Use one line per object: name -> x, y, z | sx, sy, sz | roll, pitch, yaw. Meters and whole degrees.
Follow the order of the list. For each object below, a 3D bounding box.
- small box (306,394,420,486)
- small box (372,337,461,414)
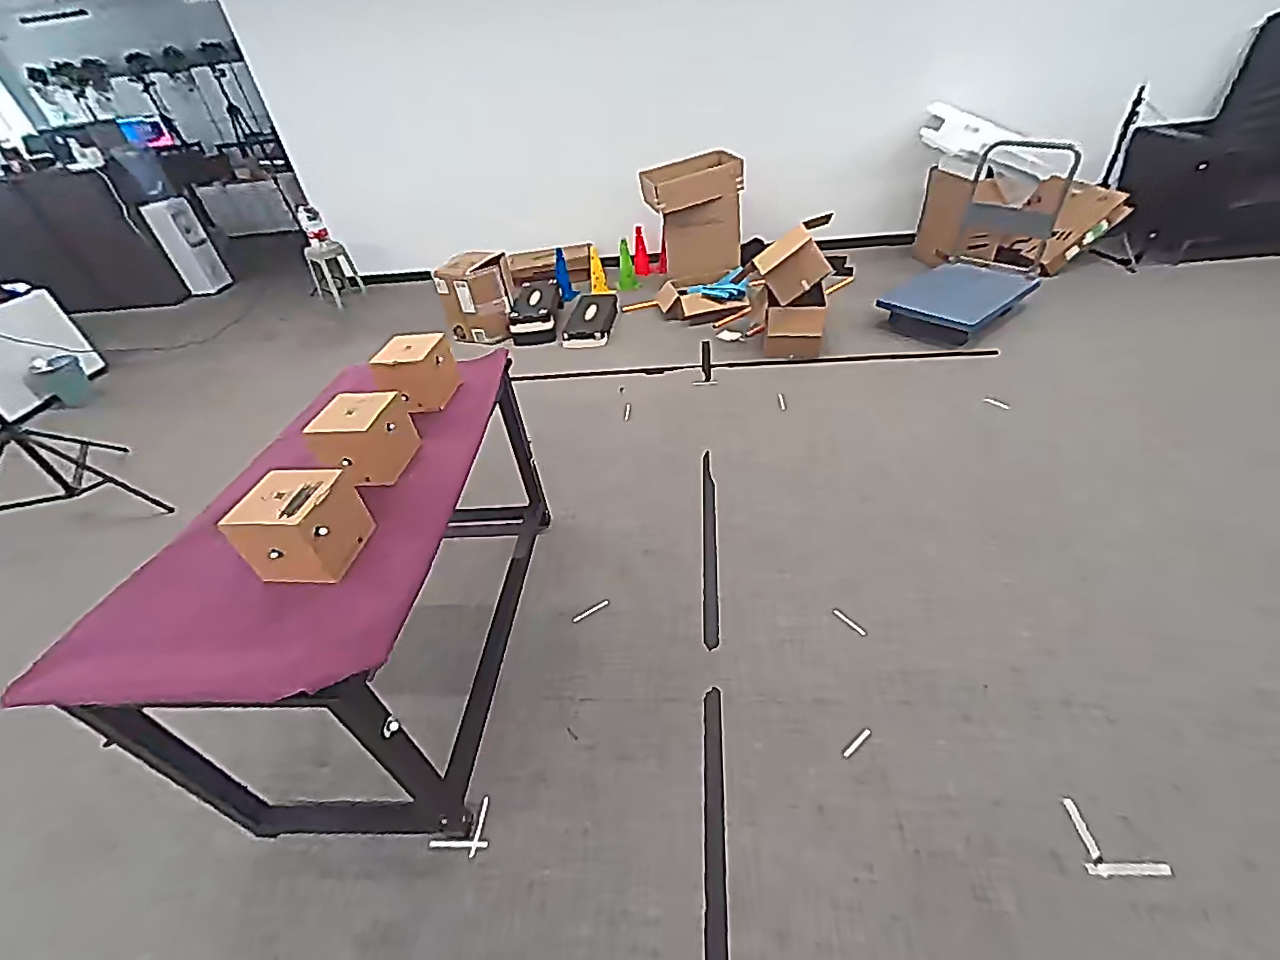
small box -> -0.681, -0.097, 1.359 | 0.168, 0.176, 0.179 | 0, 39, 8
small box -> -0.655, -0.311, 1.616 | 0.168, 0.176, 0.179 | -1, 40, 9
